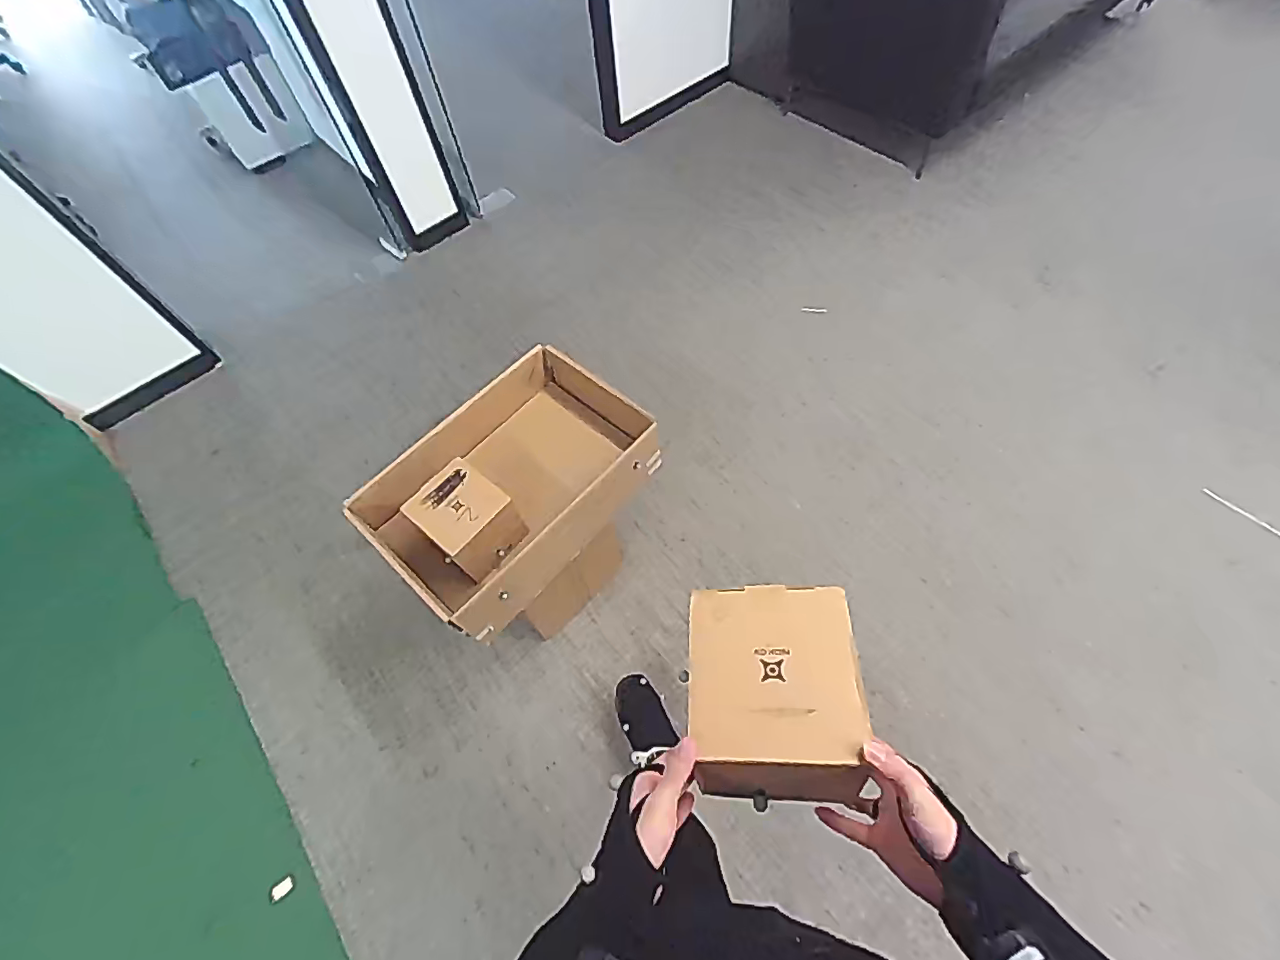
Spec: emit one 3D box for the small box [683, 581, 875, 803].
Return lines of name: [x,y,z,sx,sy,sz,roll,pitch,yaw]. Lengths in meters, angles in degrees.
small box: [0.138,0.227,0.583,0.168,0.176,0.179,-2,49,10]
